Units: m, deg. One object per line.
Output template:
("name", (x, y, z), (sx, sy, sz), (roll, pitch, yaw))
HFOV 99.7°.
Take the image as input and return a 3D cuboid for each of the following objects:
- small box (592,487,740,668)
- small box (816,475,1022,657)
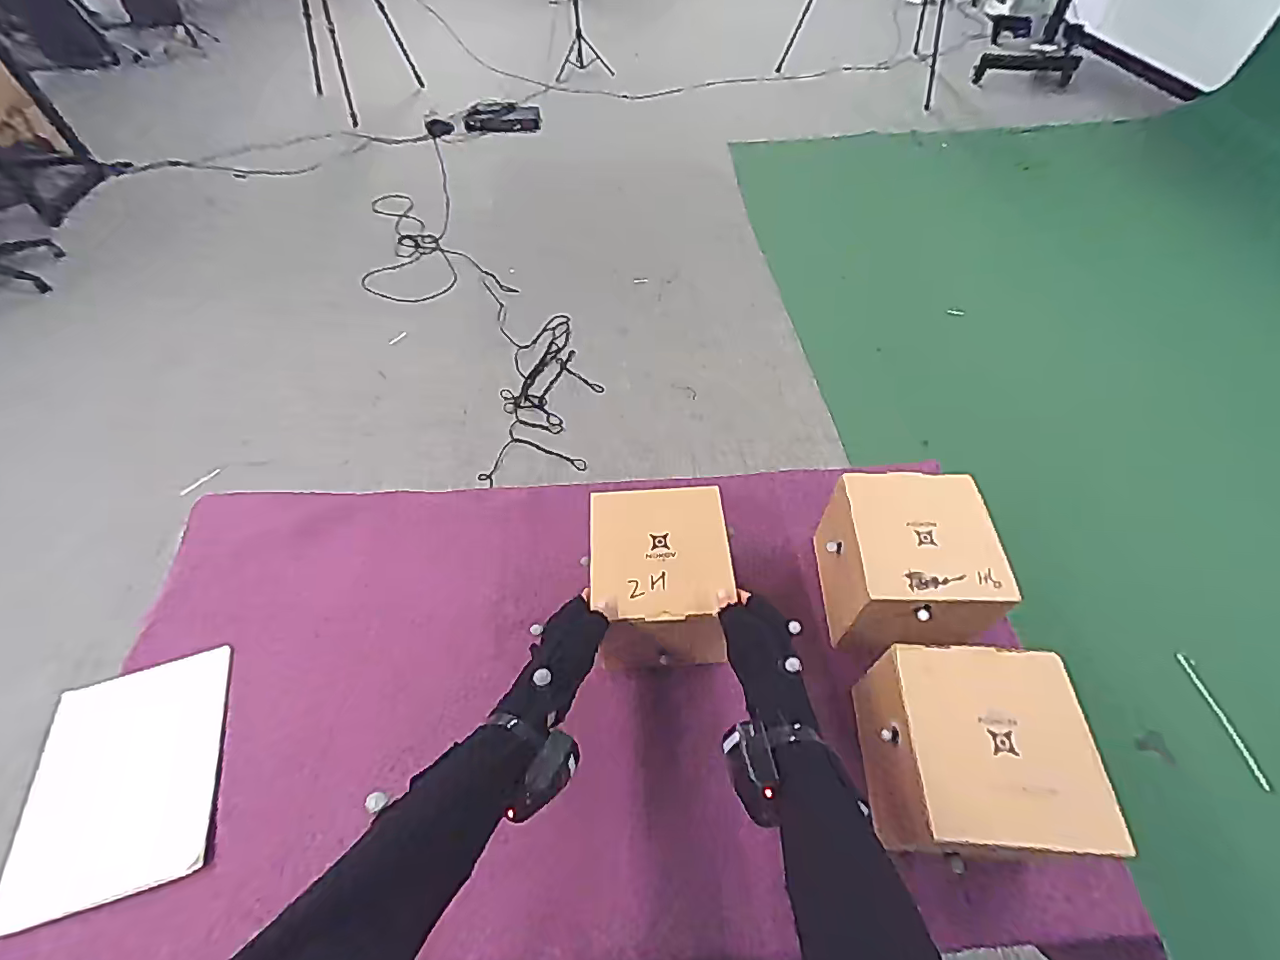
("small box", (0.027, 0.128, 0.700), (0.168, 0.176, 0.179), (-3, 55, 0))
("small box", (0.338, 0.113, 0.702), (0.168, 0.176, 0.179), (1, 53, 3))
